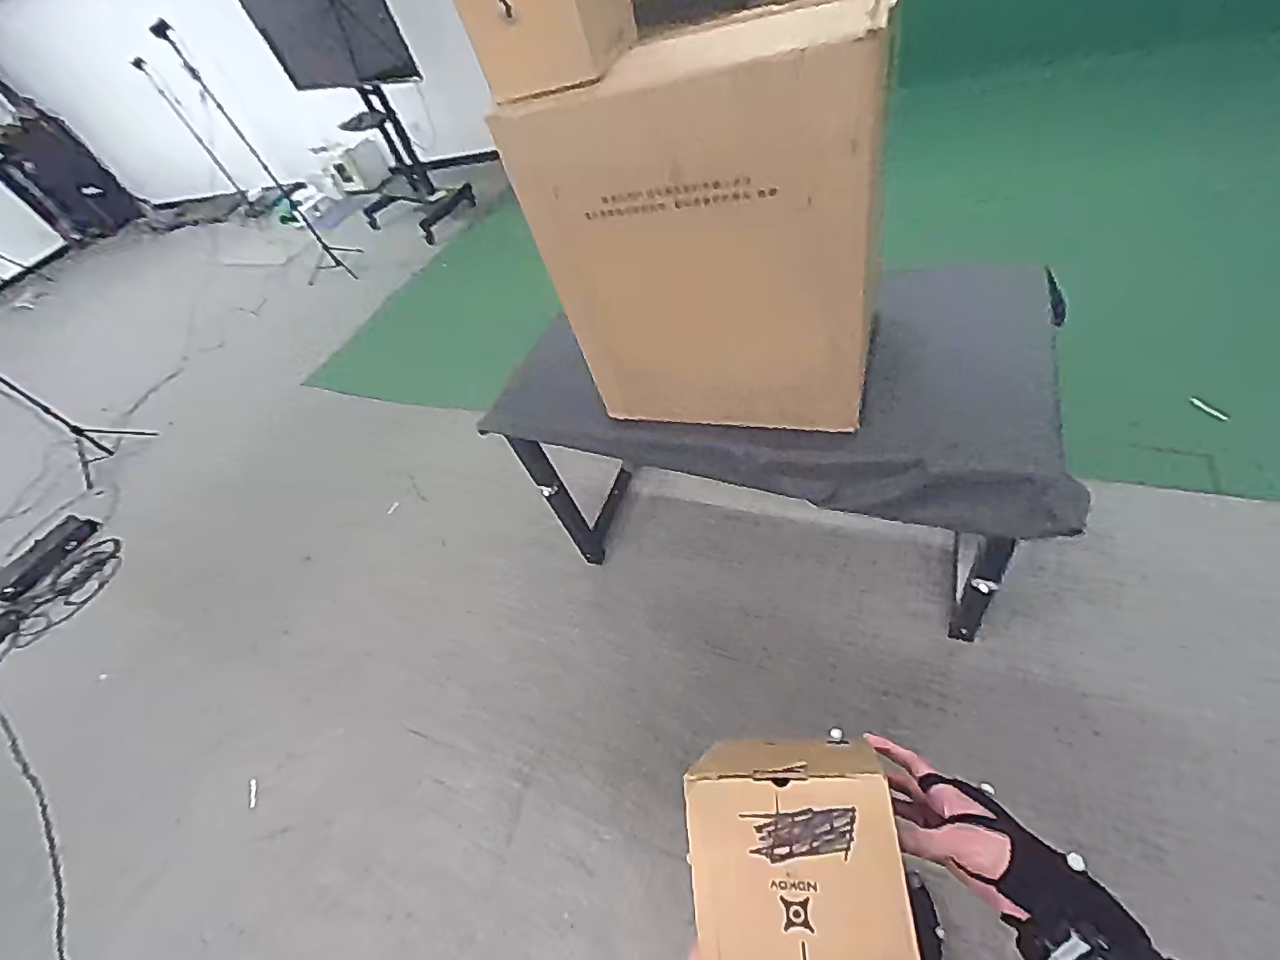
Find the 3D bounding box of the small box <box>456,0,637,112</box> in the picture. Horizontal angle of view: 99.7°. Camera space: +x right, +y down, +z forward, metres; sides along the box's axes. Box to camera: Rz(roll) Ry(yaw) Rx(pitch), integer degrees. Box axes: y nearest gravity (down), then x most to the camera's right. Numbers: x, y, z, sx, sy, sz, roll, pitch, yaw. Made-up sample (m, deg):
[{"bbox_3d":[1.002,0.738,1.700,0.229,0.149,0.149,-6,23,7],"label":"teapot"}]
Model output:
[{"bbox_3d":[-0.128,-0.643,0.749,0.179,0.176,0.168,5,54,26],"label":"small box"}]
